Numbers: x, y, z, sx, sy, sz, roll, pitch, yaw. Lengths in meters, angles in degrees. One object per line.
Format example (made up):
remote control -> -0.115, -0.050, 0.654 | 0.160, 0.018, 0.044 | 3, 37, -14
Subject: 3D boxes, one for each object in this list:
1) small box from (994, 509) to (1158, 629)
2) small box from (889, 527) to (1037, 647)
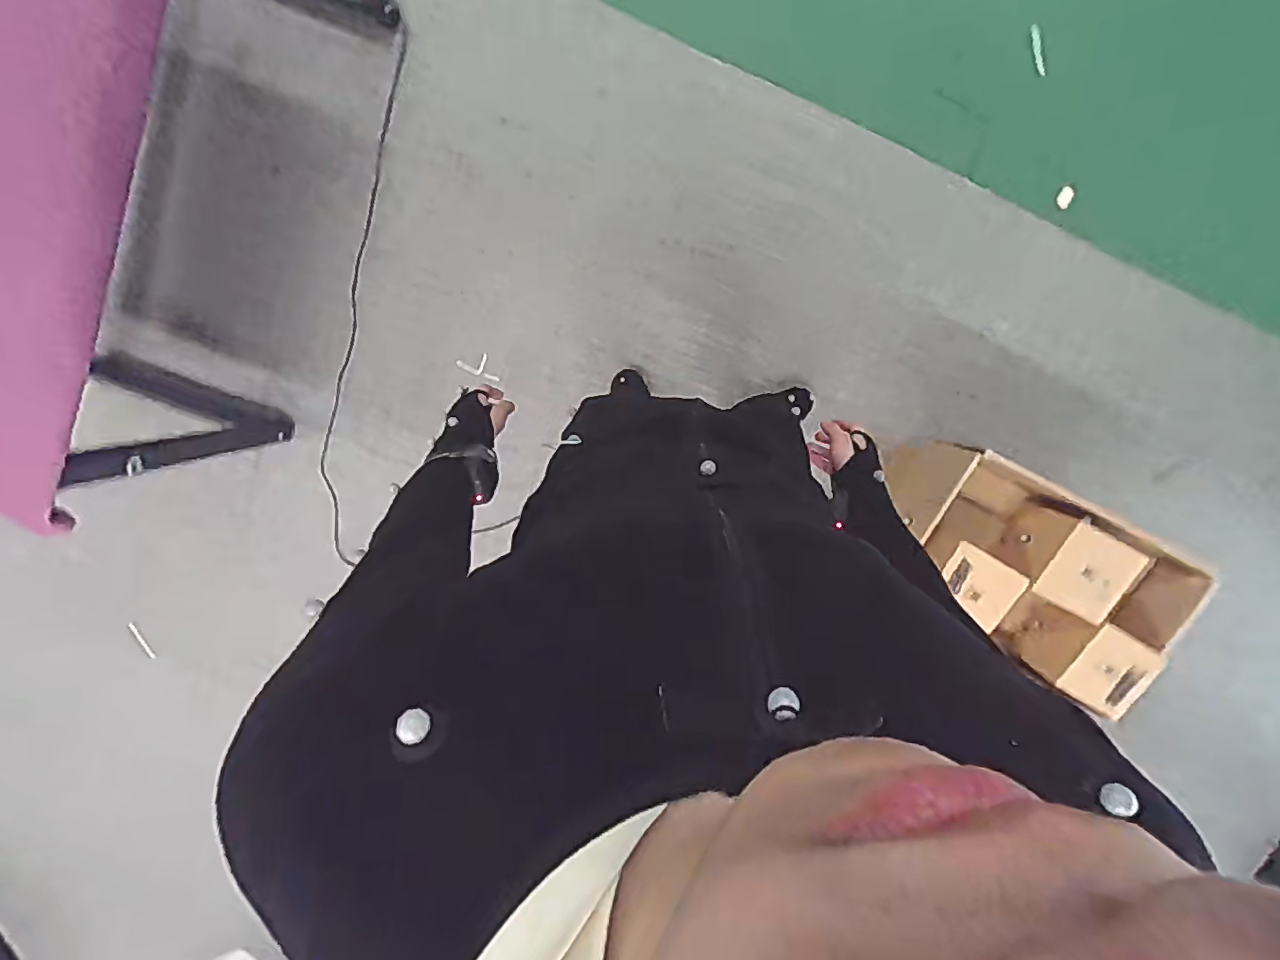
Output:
small box -> 0.907, 0.178, 1.148 | 0.179, 0.176, 0.168 | 27, 102, -5
small box -> 0.676, 0.217, 1.159 | 0.179, 0.176, 0.168 | 30, 101, -5
